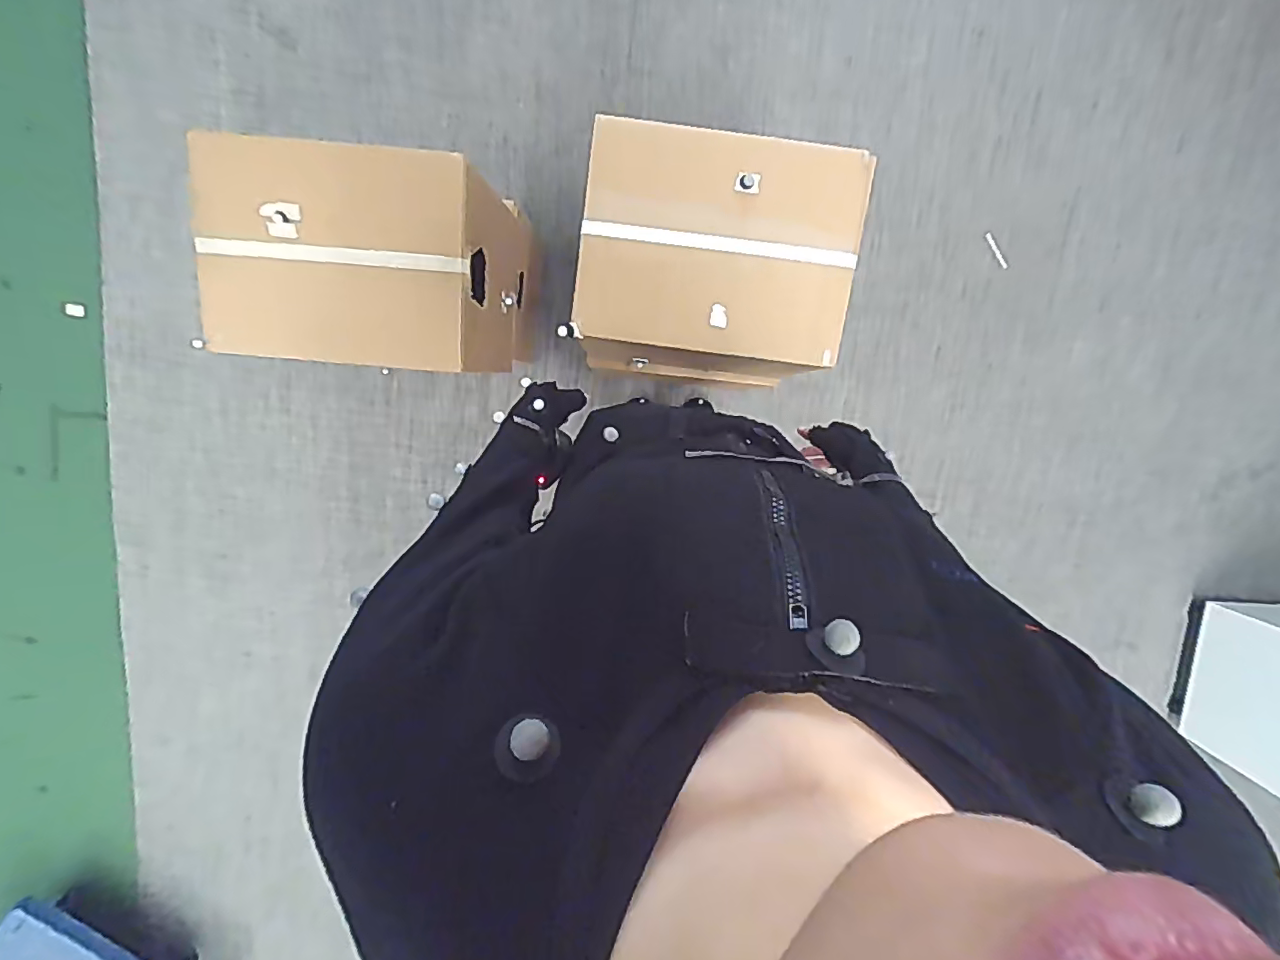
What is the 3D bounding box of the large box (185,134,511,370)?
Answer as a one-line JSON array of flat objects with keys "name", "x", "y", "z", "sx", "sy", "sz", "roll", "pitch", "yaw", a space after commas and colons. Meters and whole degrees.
[{"name": "large box", "x": -0.461, "y": -0.366, "z": 0.948, "sx": 0.408, "sy": 0.320, "sz": 0.320, "roll": 5, "pitch": 102, "yaw": 1}]
